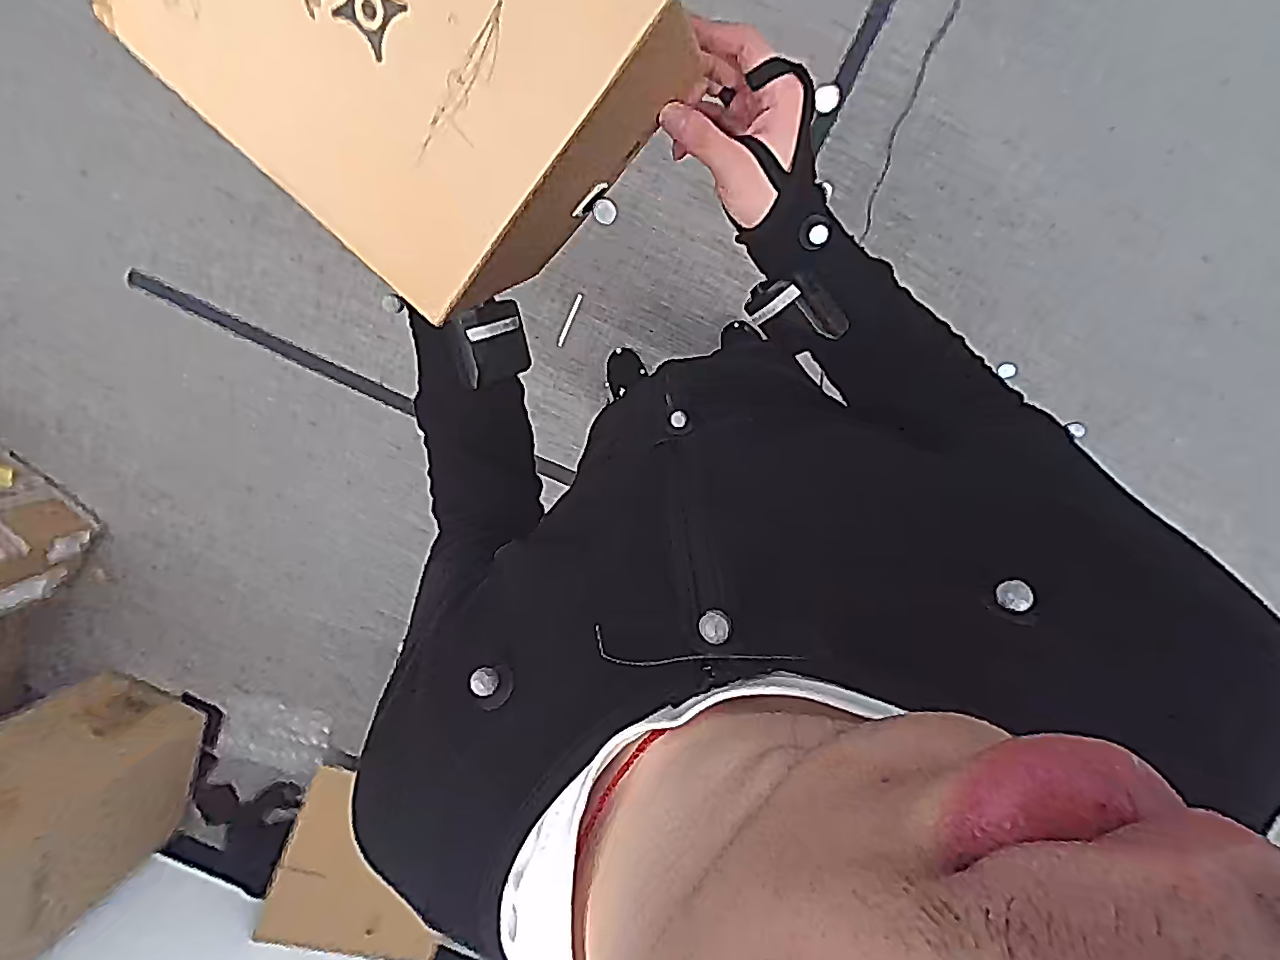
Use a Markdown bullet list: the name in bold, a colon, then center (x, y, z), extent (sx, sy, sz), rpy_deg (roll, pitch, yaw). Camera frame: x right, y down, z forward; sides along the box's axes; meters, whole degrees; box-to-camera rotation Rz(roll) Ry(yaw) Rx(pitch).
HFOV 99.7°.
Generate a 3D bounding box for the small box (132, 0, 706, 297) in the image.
- **small box**: center (-0.084, -0.227, 0.276), extent (0.179, 0.176, 0.168), rpy_deg (44, 118, -15)
